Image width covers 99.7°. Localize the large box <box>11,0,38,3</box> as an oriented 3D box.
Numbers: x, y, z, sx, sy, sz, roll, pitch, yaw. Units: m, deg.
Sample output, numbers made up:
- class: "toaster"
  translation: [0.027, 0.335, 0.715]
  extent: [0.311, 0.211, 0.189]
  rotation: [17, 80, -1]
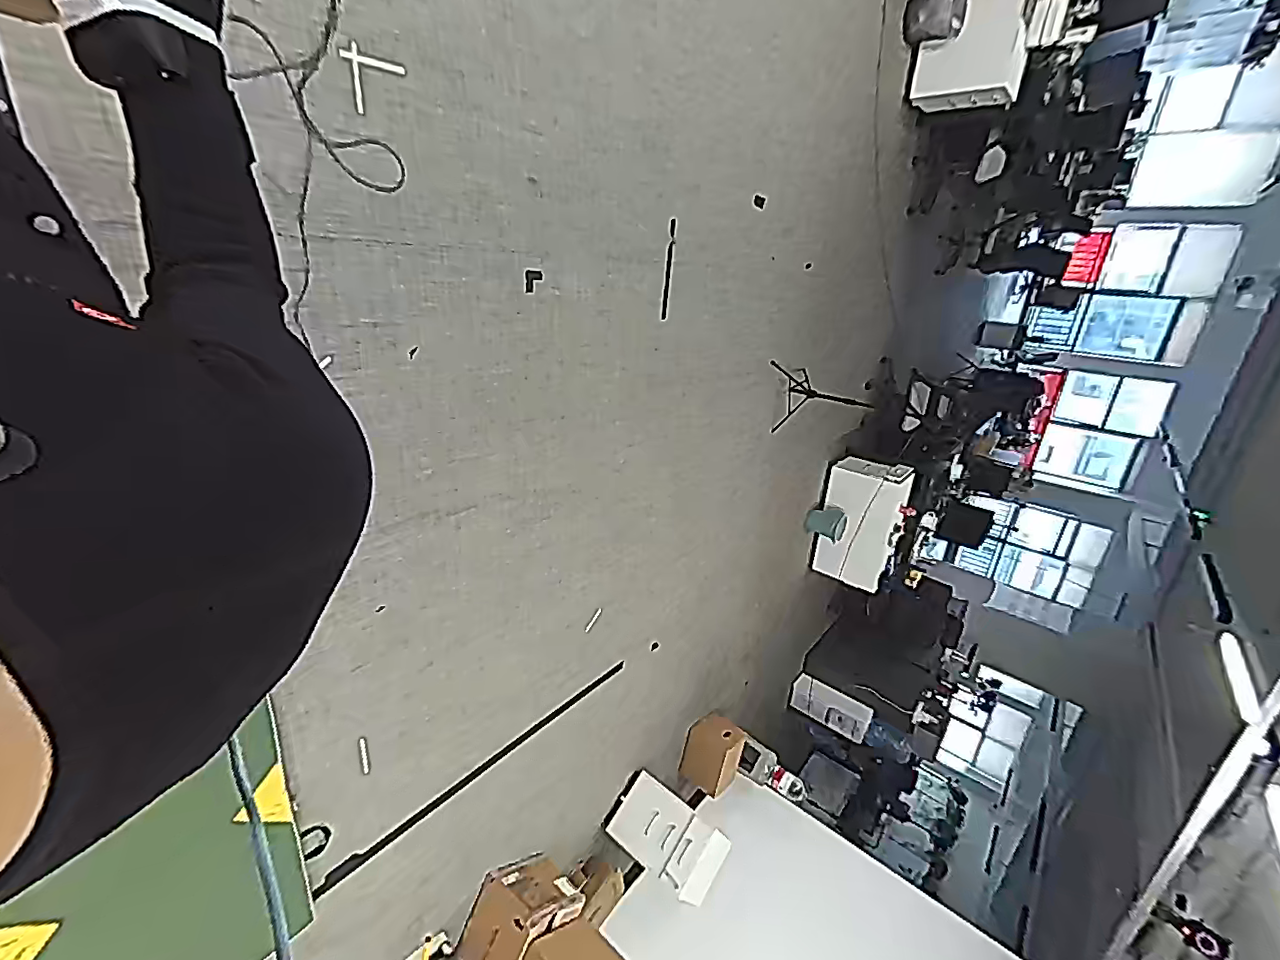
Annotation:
- class: "large box"
  translation: [-0.569, -0.501, 0.246]
  extent: [0.408, 0.320, 0.320]
  rotation: [-19, 130, -52]
